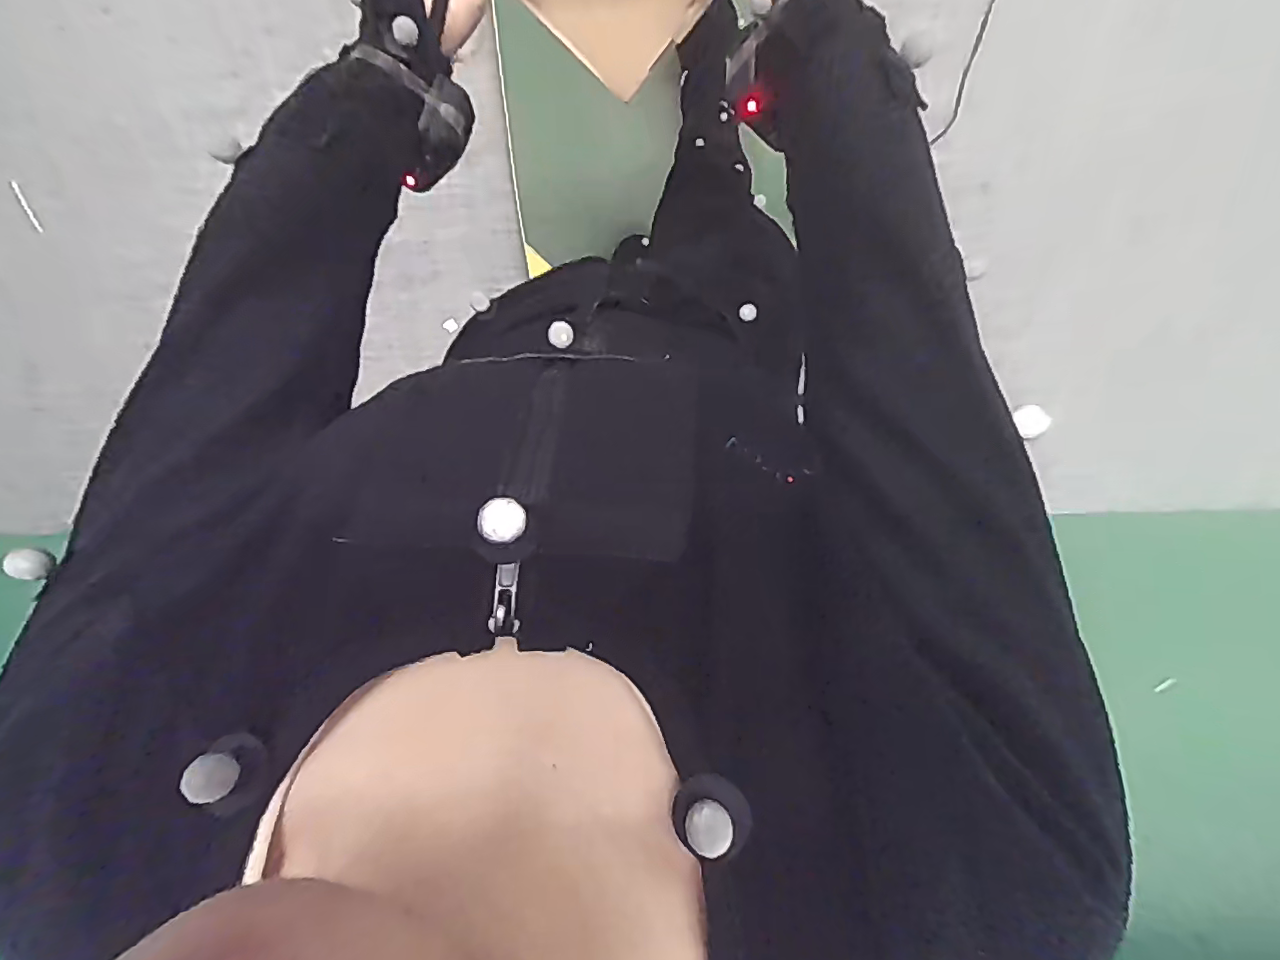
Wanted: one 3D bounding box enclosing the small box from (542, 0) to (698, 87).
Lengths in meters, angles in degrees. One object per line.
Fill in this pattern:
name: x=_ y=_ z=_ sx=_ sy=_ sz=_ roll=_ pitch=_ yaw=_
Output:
small box: x=-0.021 y=-0.468 z=0.418 sx=0.179 sy=0.176 sz=0.168 roll=29 pitch=132 yaw=-33
